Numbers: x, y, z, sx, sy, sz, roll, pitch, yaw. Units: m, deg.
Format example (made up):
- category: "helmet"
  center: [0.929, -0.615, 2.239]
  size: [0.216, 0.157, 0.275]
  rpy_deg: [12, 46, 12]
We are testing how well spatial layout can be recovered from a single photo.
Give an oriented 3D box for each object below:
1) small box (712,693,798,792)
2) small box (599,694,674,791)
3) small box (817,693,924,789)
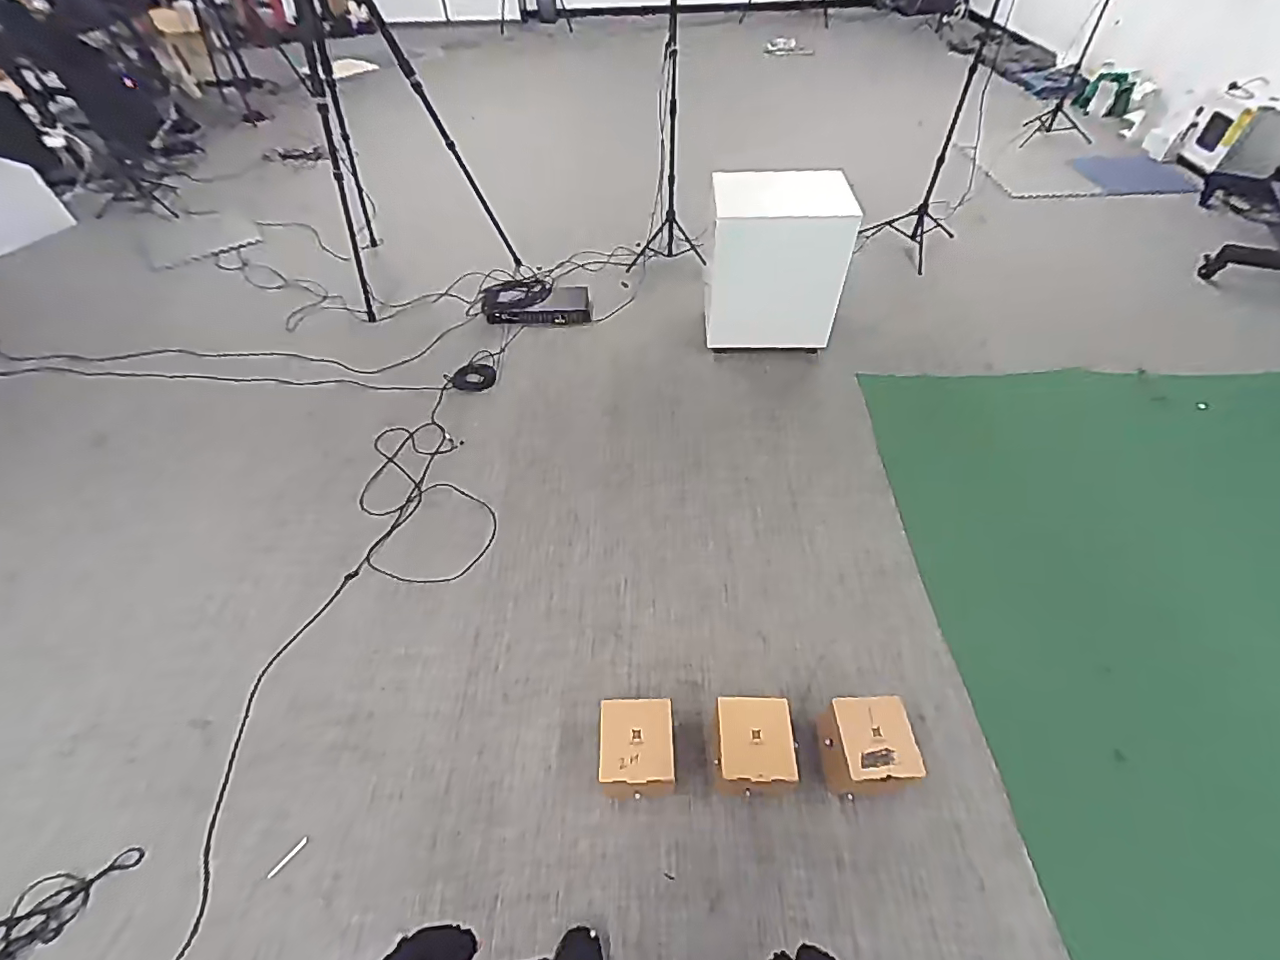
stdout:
- category: "small box"
  center: [0.263, 0.622, 1.280]
  size: [0.168, 0.176, 0.179]
  rpy_deg: [1, 51, 2]
- category: "small box"
  center: [-0.005, 0.624, 1.284]
  size: [0.168, 0.176, 0.179]
  rpy_deg: [-2, 51, 2]
- category: "small box"
  center: [0.532, 0.618, 1.273]
  size: [0.168, 0.176, 0.179]
  rpy_deg: [-2, 50, 0]
